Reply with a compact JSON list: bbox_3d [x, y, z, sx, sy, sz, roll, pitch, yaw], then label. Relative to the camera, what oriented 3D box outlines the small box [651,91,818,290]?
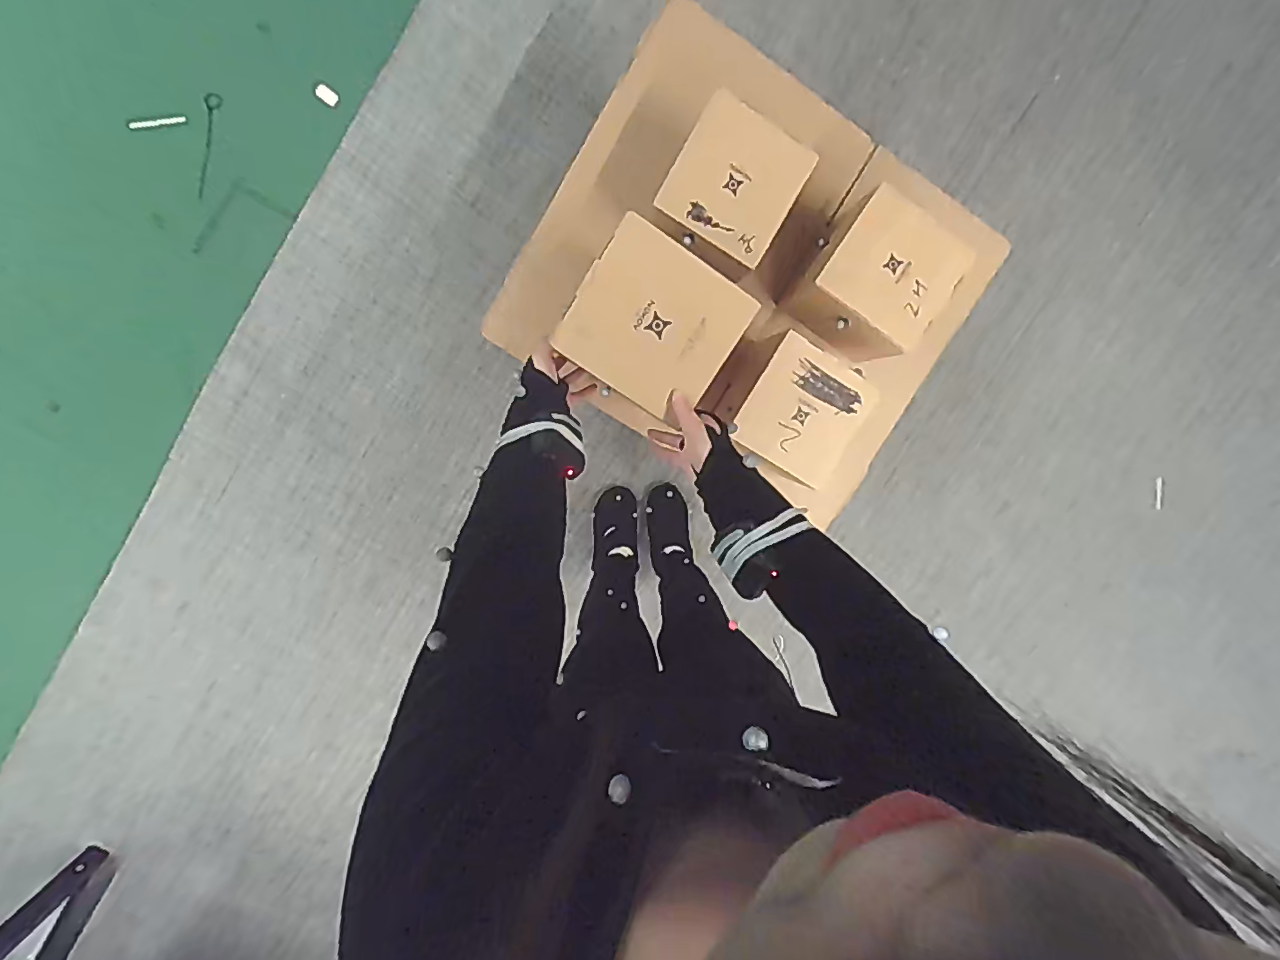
[{"bbox_3d":[0.123,-0.405,0.798,0.168,0.176,0.179,30,94,-6],"label":"small box"}]

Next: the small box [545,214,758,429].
[{"bbox_3d":[0.008,-0.178,0.659,0.179,0.176,0.168,33,96,-8],"label":"small box"}]
